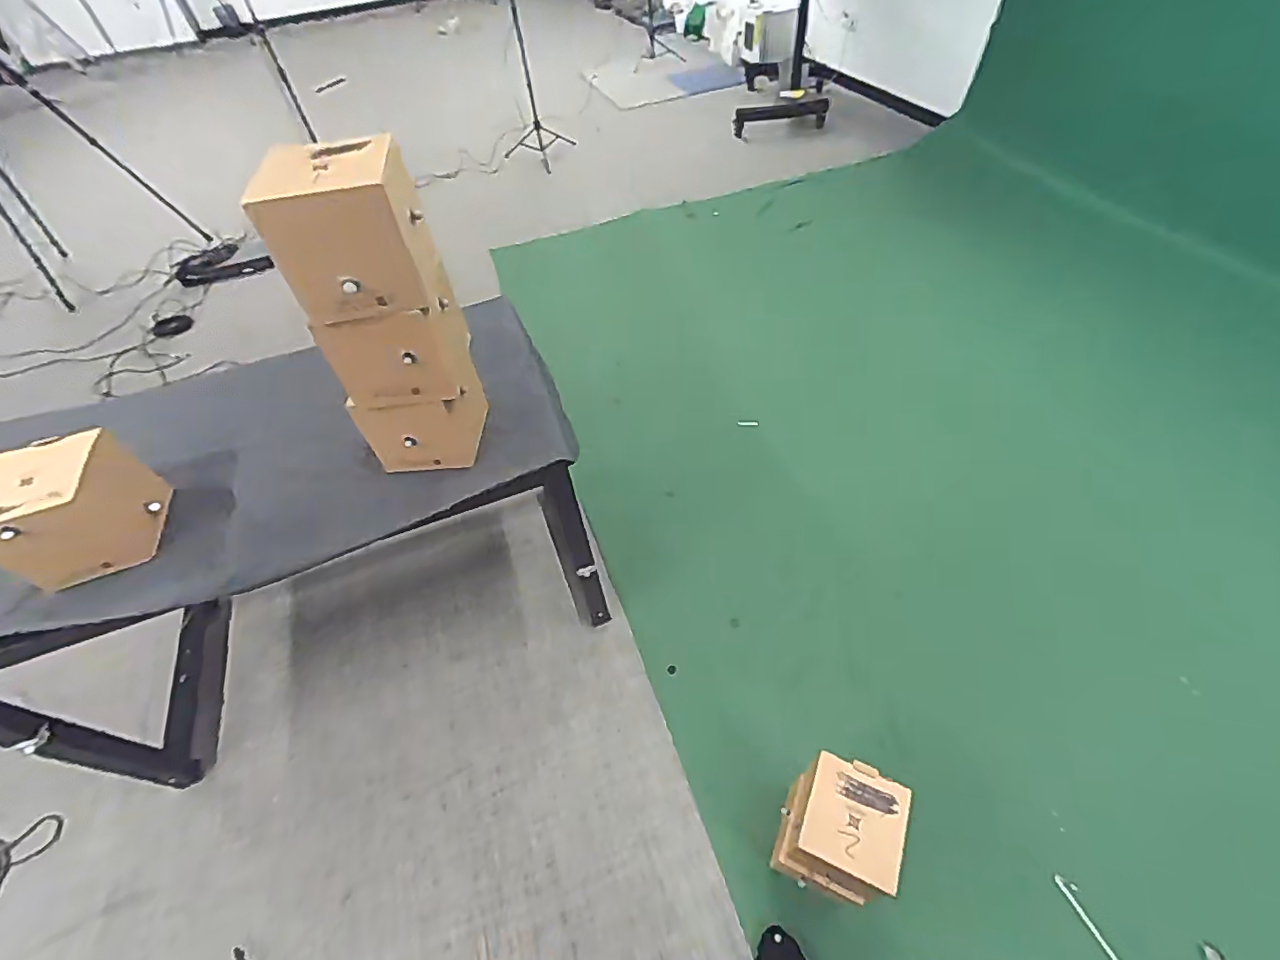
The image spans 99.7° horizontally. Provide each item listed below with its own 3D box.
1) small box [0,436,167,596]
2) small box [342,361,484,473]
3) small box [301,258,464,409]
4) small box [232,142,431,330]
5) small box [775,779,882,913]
[{"bbox_3d":[-0.945,0.061,0.902,0.168,0.176,0.179,-19,50,-10],"label":"small box"},{"bbox_3d":[-0.400,-0.125,0.992,0.168,0.176,0.179,-3,49,3],"label":"small box"},{"bbox_3d":[-0.393,-0.228,0.865,0.168,0.176,0.179,-6,48,-1],"label":"small box"},{"bbox_3d":[-0.397,-0.331,0.737,0.168,0.176,0.179,-12,50,-4],"label":"small box"},{"bbox_3d":[0.388,0.770,1.134,0.168,0.176,0.179,17,54,19],"label":"small box"}]
